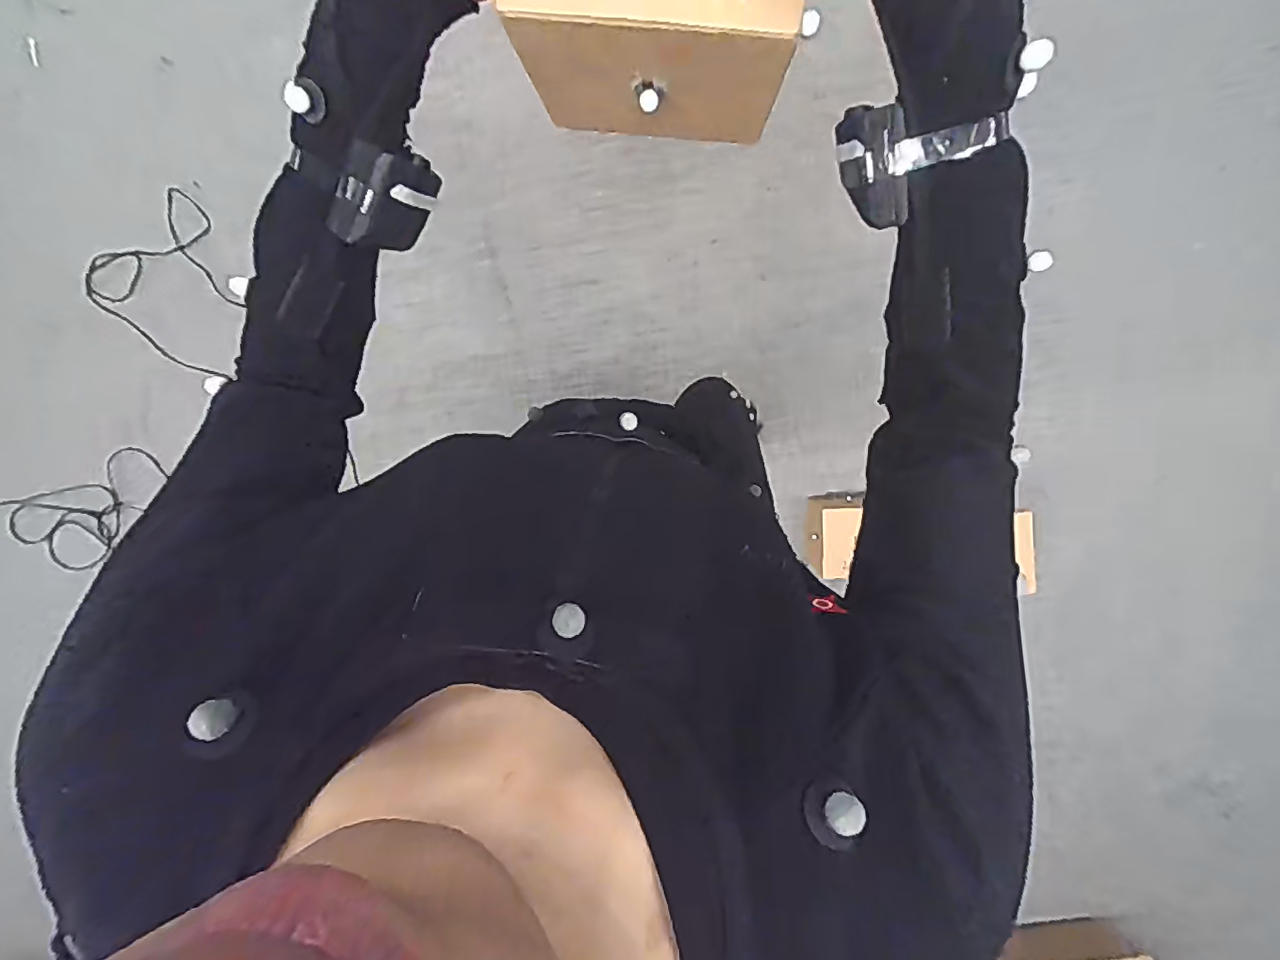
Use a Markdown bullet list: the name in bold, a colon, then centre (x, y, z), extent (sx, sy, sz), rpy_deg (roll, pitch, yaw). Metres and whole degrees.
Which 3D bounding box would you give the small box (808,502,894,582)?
- **small box**: centre (0.526, 0.150, 1.367), extent (0.168, 0.176, 0.179), rpy_deg (-2, 96, 4)
